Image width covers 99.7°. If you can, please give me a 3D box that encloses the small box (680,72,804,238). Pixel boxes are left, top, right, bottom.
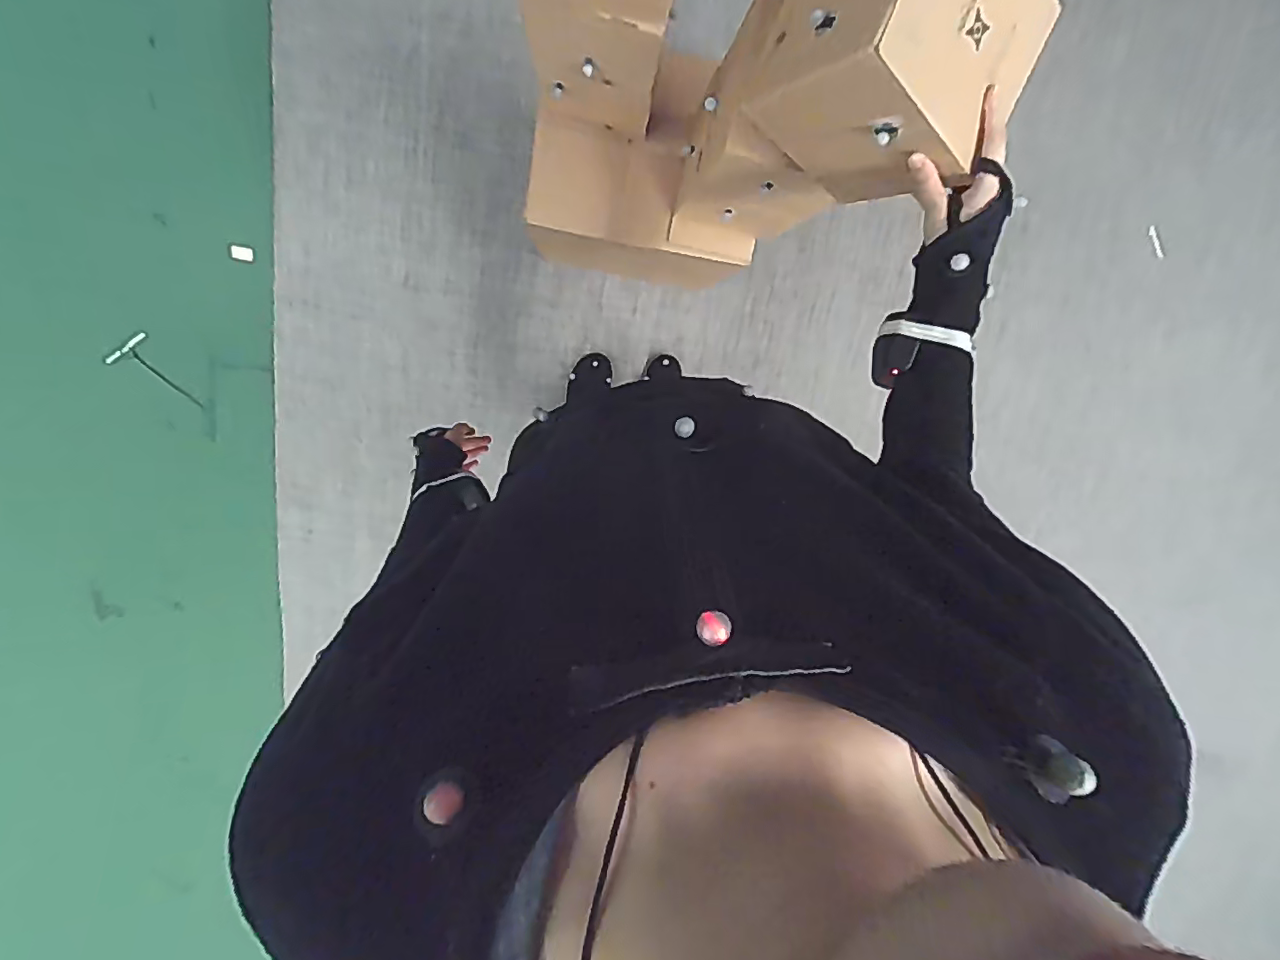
[{"bbox_3d":[0.169,-0.497,0.855,0.179,0.176,0.168,10,105,-7],"label":"small box"}]

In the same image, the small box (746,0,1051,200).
[{"bbox_3d":[0.234,-0.394,0.515,0.179,0.176,0.168,22,96,-34],"label":"small box"}]

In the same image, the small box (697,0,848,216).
[{"bbox_3d":[0.188,-0.458,0.697,0.179,0.176,0.168,11,103,-7],"label":"small box"}]
